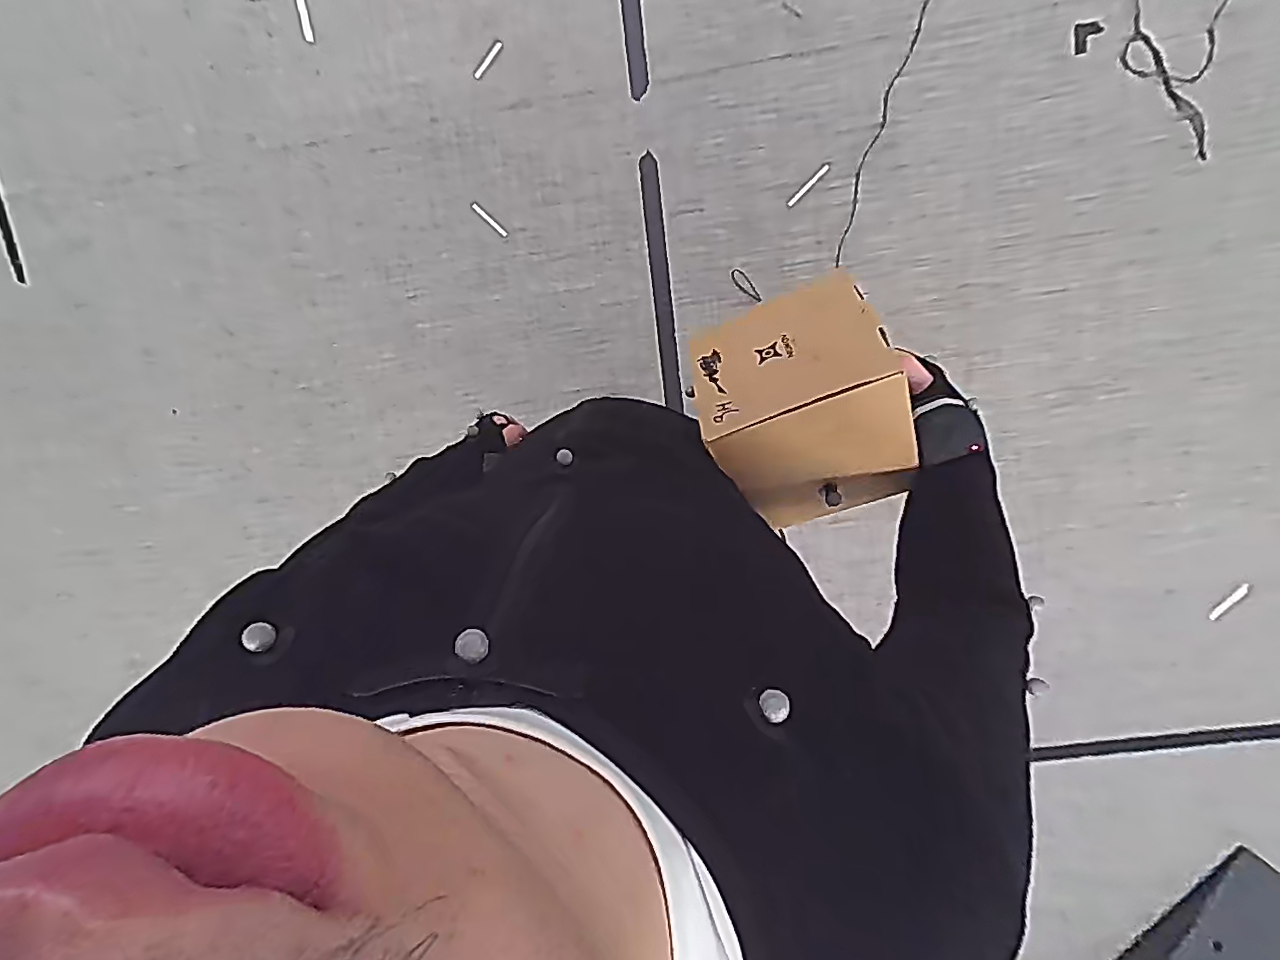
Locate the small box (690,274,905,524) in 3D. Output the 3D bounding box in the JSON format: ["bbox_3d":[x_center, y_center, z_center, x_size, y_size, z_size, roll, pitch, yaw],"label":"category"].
[{"bbox_3d":[0.171,-0.079,0.585,0.179,0.168,0.176,-20,136,18],"label":"small box"}]
